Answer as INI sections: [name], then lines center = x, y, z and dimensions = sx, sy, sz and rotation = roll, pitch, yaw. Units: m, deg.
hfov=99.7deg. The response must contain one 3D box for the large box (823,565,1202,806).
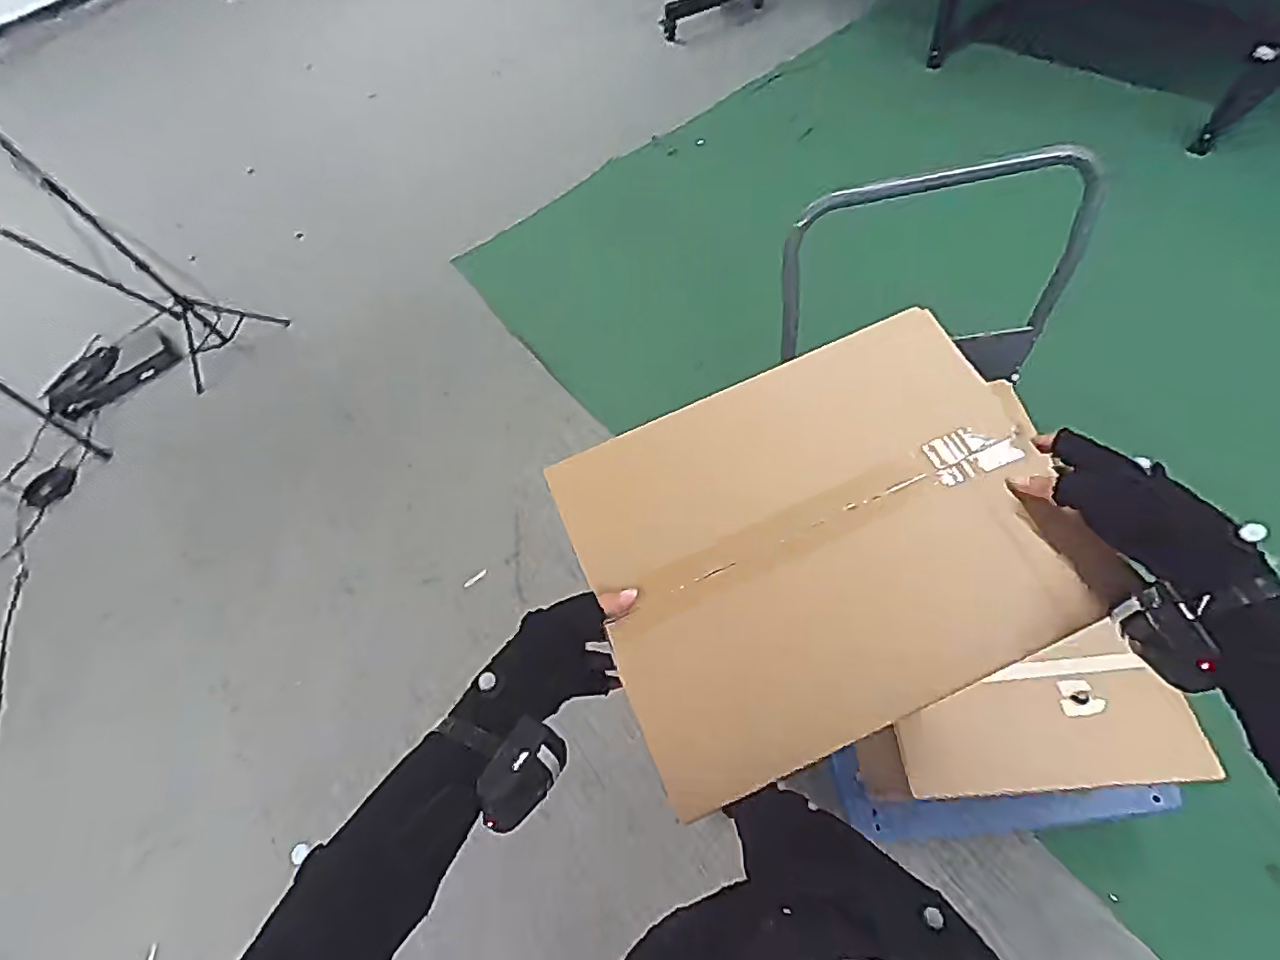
[large box]
center = 0.579, 0.374, 0.952
dimensions = 0.408, 0.320, 0.320
rotation = -7, 57, 5
